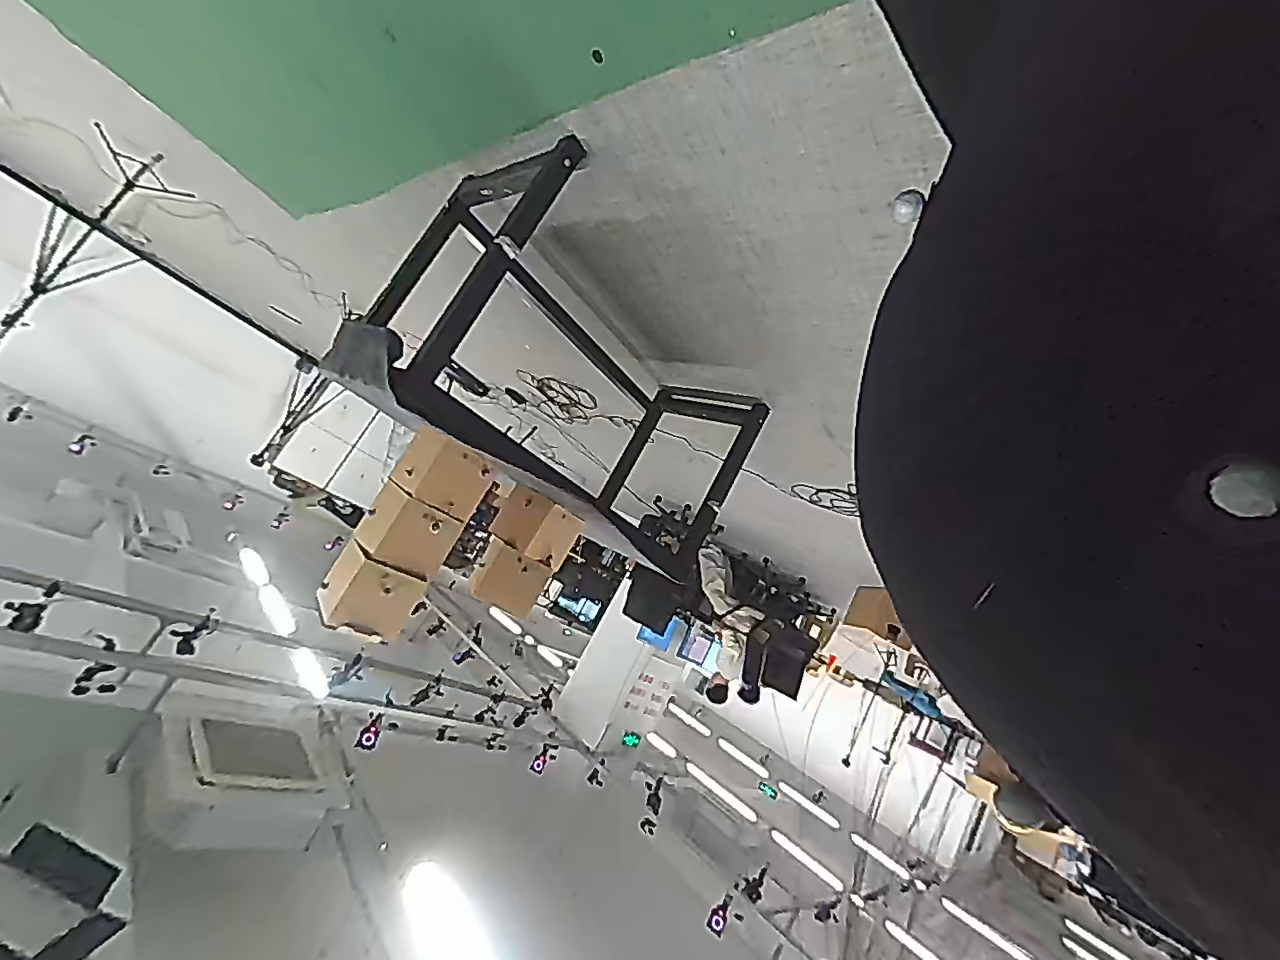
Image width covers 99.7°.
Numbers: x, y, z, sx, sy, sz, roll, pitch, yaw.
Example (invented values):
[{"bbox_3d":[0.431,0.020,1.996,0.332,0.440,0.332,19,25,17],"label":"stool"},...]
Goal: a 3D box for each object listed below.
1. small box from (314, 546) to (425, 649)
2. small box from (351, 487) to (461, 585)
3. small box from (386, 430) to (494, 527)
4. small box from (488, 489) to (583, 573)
[{"bbox_3d":[-0.650,0.275,1.303,0.168,0.176,0.179,35,170,-38],"label":"small box"},{"bbox_3d":[-0.574,0.131,1.337,0.179,0.176,0.168,18,167,47],"label":"small box"},{"bbox_3d":[-0.498,-0.009,1.366,0.179,0.176,0.168,22,168,44],"label":"small box"},{"bbox_3d":[-0.301,0.144,1.582,0.179,0.176,0.168,23,168,36],"label":"small box"}]
